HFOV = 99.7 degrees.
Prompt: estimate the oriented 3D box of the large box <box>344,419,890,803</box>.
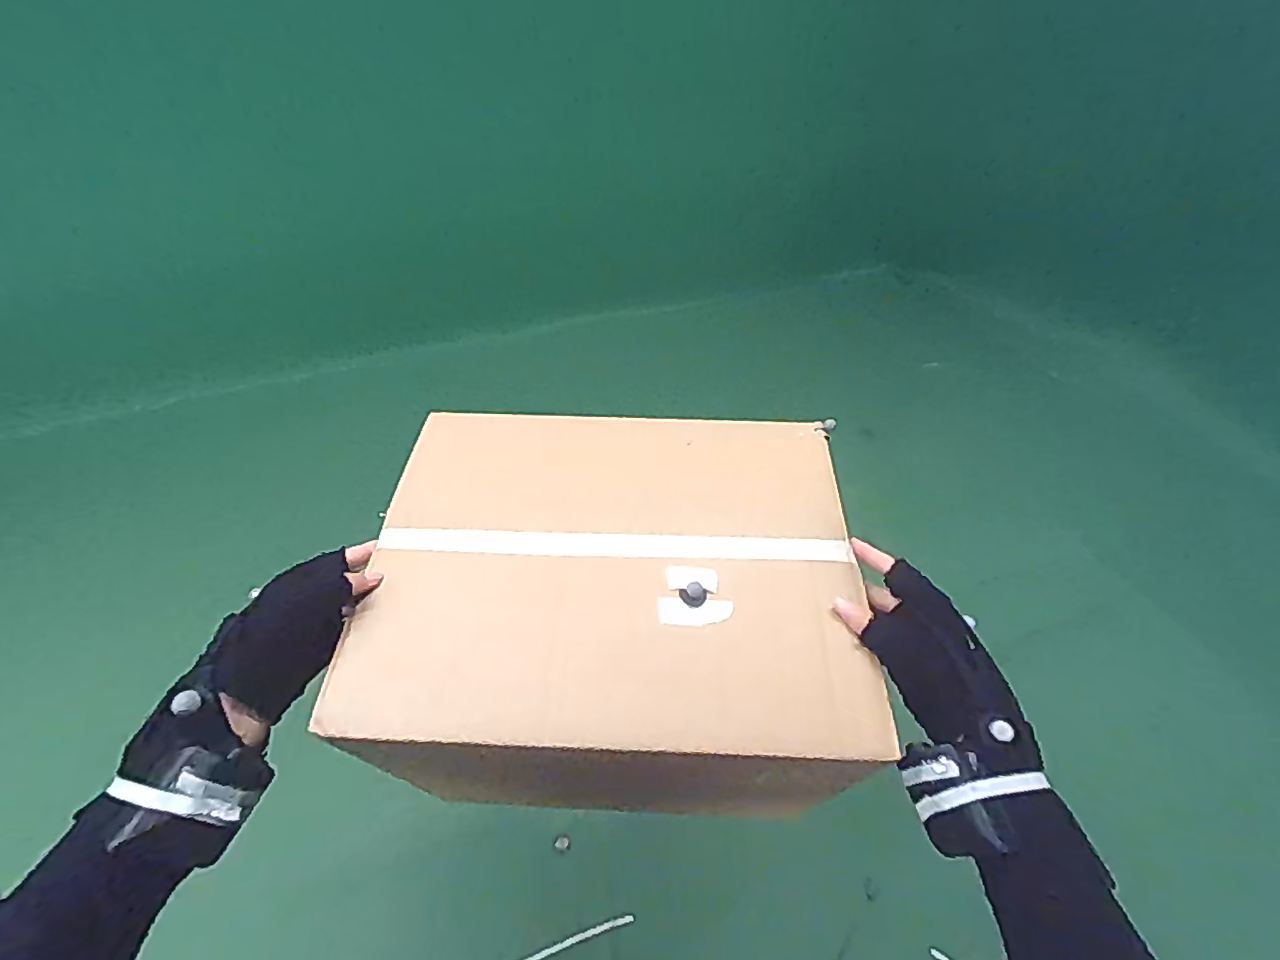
[{"bbox_3d":[-0.013,0.150,0.593,0.408,0.320,0.320,2,53,2],"label":"large box"}]
